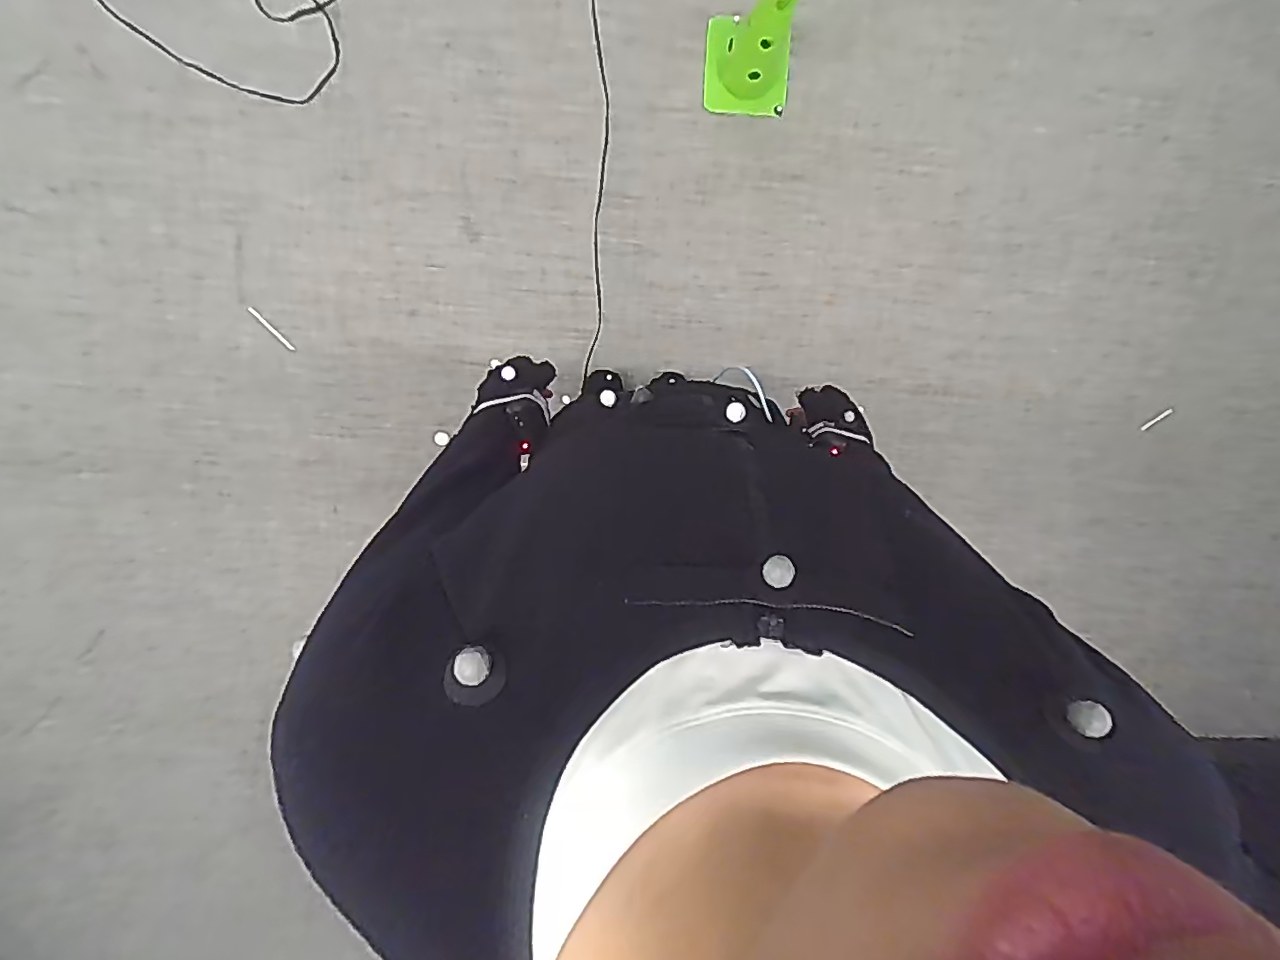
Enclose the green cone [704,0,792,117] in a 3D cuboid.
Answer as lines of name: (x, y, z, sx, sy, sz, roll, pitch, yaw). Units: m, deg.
green cone: (0.261, -0.945, 1.118, 0.202, 0.368, 0.200, 2, 101, -2)
